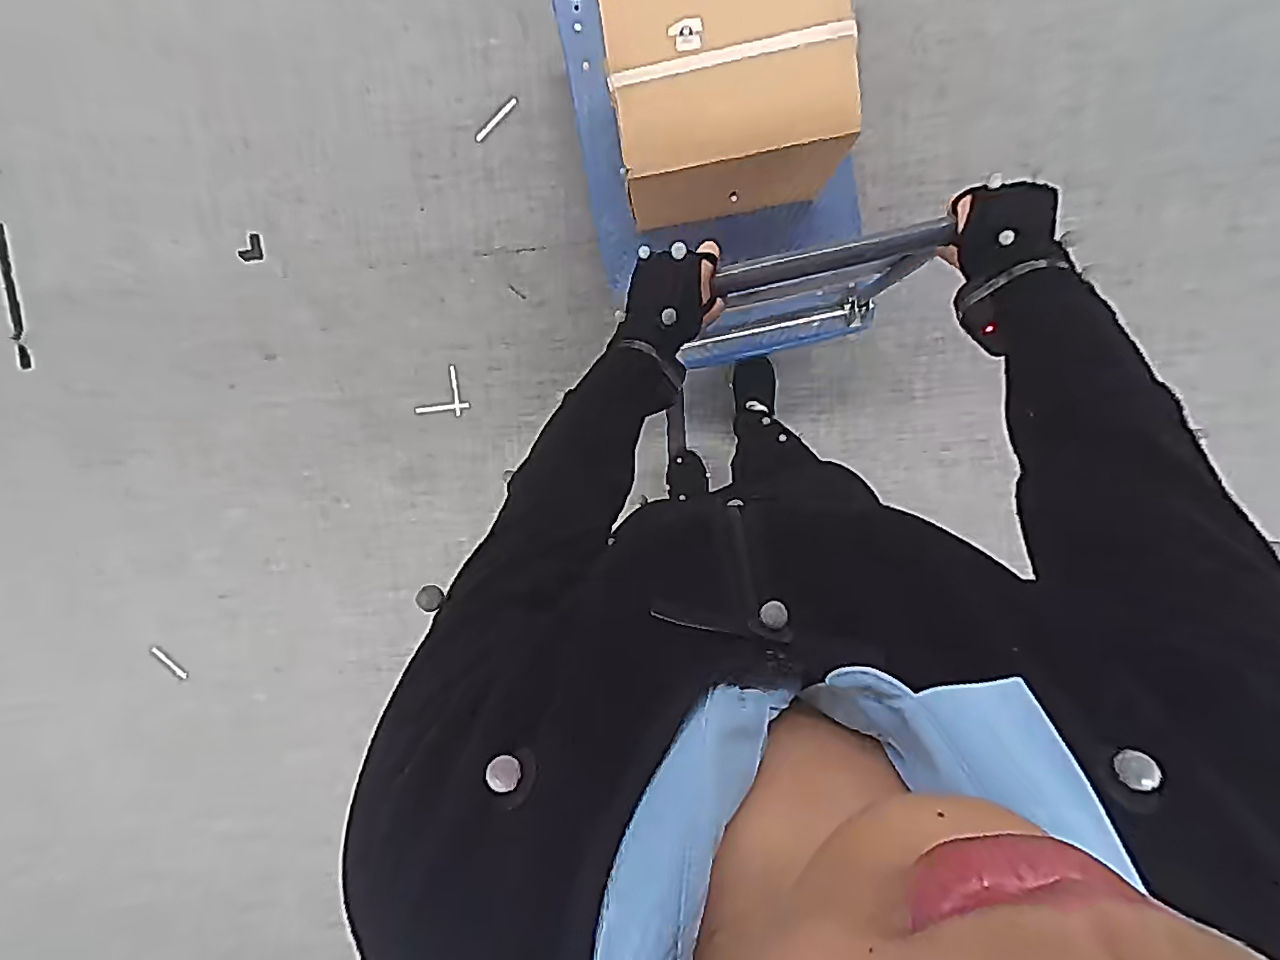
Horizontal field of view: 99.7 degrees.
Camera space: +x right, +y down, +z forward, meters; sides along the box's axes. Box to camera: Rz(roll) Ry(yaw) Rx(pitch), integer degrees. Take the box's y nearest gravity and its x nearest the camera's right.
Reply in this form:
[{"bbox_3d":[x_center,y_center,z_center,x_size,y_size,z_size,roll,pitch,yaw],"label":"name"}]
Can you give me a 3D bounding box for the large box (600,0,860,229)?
[{"bbox_3d":[0.165,-0.733,1.061,0.408,0.320,0.320,-10,97,6],"label":"large box"}]
